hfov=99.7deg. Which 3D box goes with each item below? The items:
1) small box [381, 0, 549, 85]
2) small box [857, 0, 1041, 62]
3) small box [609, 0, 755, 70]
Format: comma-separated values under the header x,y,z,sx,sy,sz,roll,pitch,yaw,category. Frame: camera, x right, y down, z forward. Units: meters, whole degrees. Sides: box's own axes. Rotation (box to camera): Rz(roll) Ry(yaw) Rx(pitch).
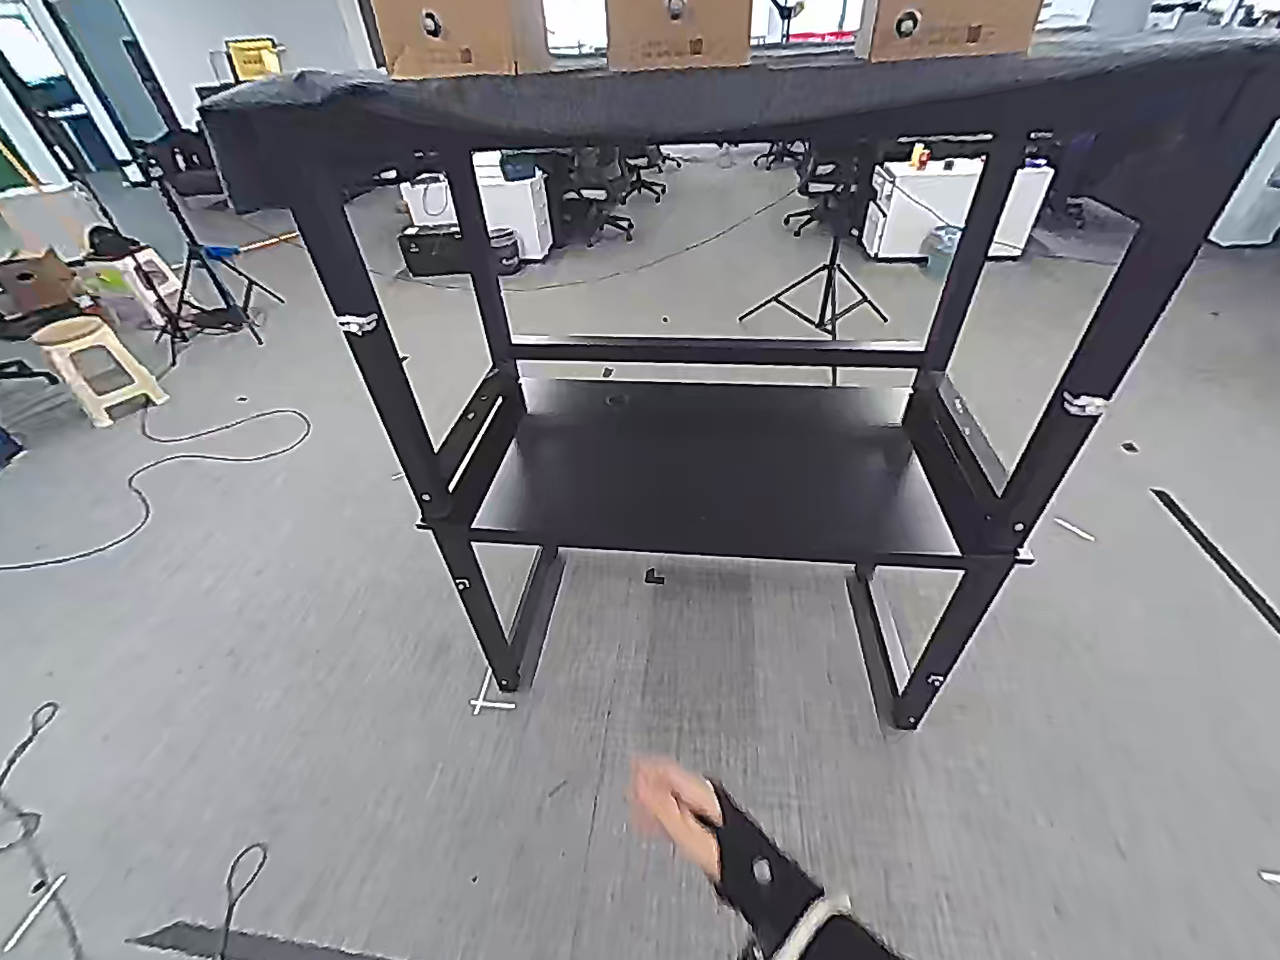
x,y,z,sx,sy,sz,roll,pitch,yaw,category
-0.216,-0.604,0.674,0.168,0.176,0.179,3,39,5,small box
0.352,-0.584,0.608,0.168,0.176,0.179,5,39,10,small box
0.055,-0.594,0.641,0.168,0.176,0.179,3,39,8,small box
